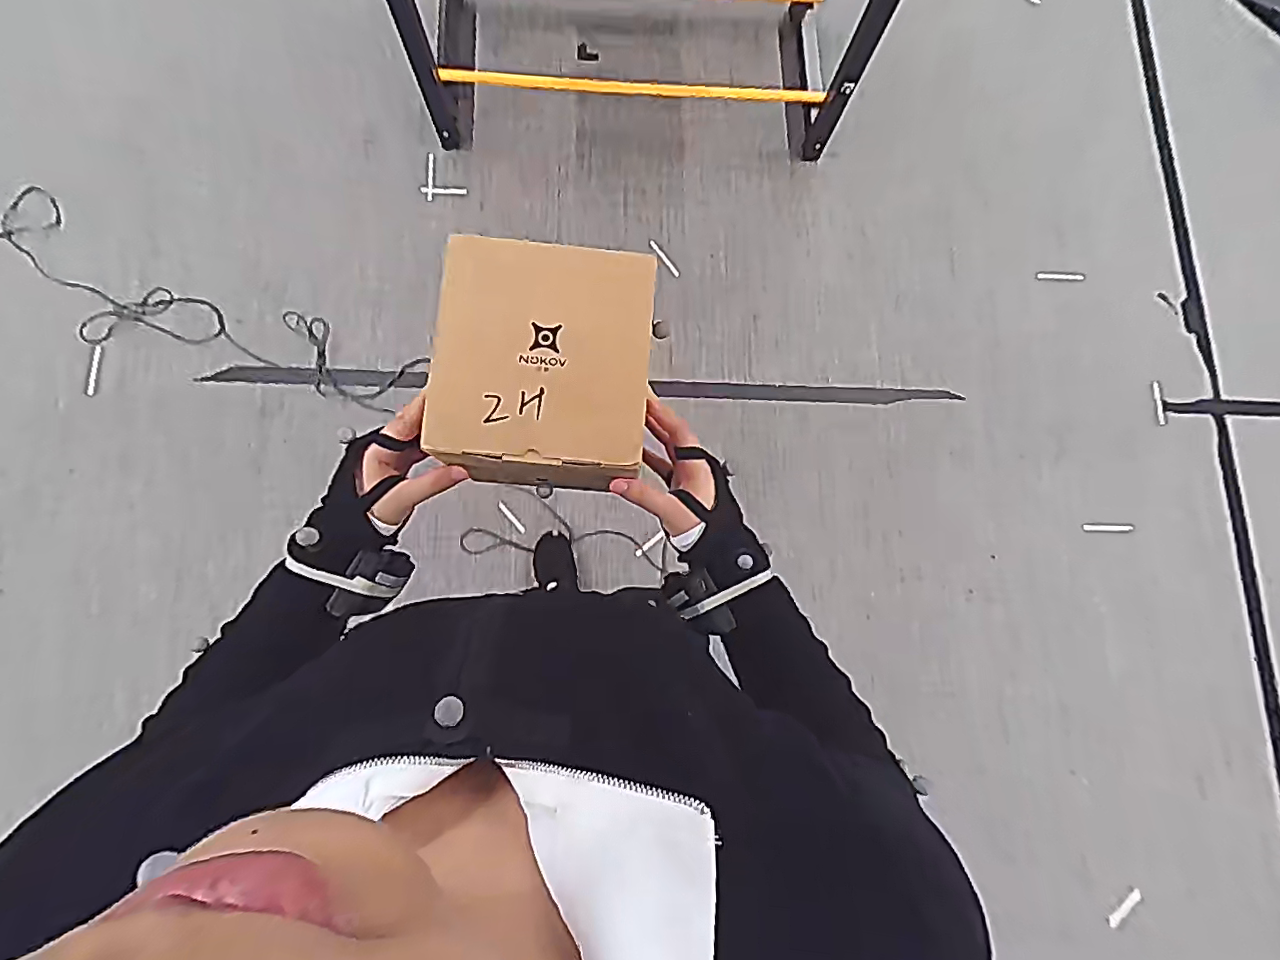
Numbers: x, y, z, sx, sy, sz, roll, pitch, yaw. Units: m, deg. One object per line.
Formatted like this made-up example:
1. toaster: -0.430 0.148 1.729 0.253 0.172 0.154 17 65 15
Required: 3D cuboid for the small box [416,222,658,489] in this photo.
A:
1. small box: -0.080 -0.095 0.487 0.168 0.176 0.179 5 82 -3
